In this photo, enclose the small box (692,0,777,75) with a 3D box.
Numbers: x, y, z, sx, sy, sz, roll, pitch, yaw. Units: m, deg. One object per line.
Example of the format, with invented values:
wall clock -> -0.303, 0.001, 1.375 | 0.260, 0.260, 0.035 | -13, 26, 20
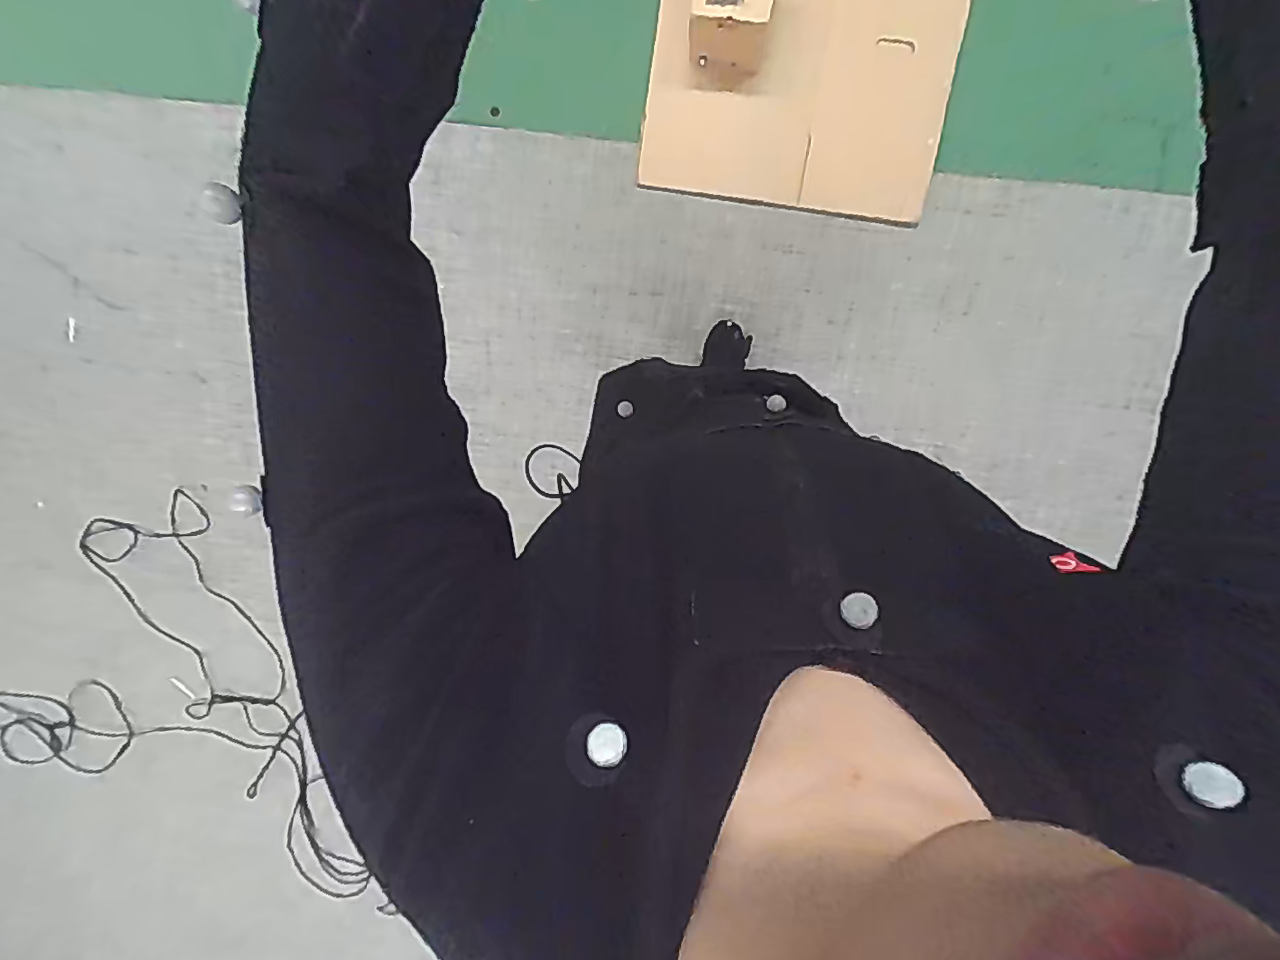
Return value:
small box -> 0.212, -1.031, 1.181 | 0.168, 0.176, 0.179 | 11, 99, 3
